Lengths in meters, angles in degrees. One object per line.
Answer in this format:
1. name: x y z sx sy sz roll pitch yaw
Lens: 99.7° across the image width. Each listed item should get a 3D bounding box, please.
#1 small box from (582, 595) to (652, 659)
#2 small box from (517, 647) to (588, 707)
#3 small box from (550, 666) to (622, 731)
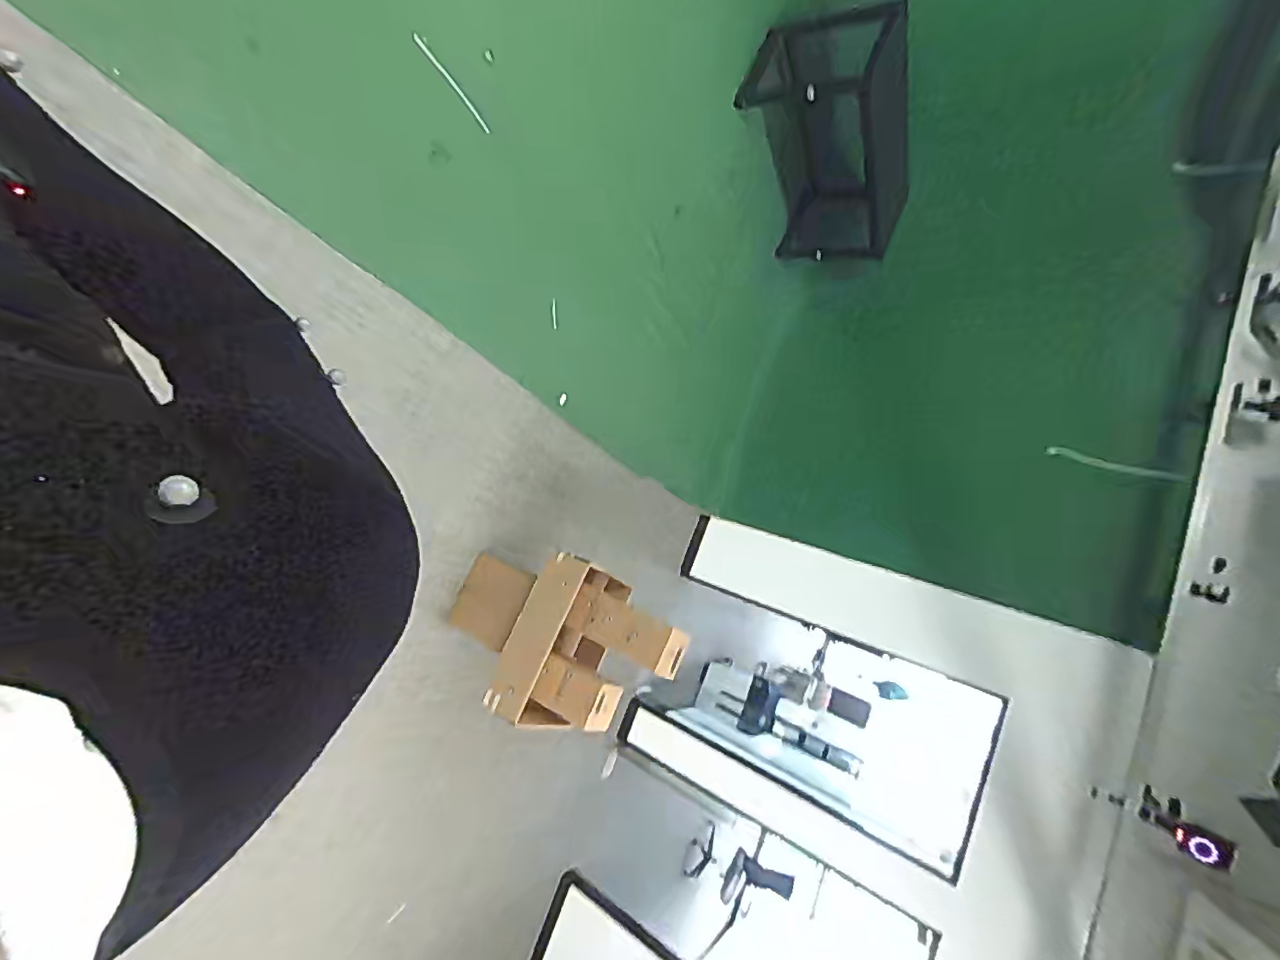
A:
1. small box: -0.086 0.545 2.021 0.168 0.176 0.179 -64 147 -13
2. small box: -0.333 0.750 2.049 0.168 0.176 0.179 -66 148 -13
3. small box: -0.198 0.791 1.964 0.168 0.176 0.179 -65 148 -13
